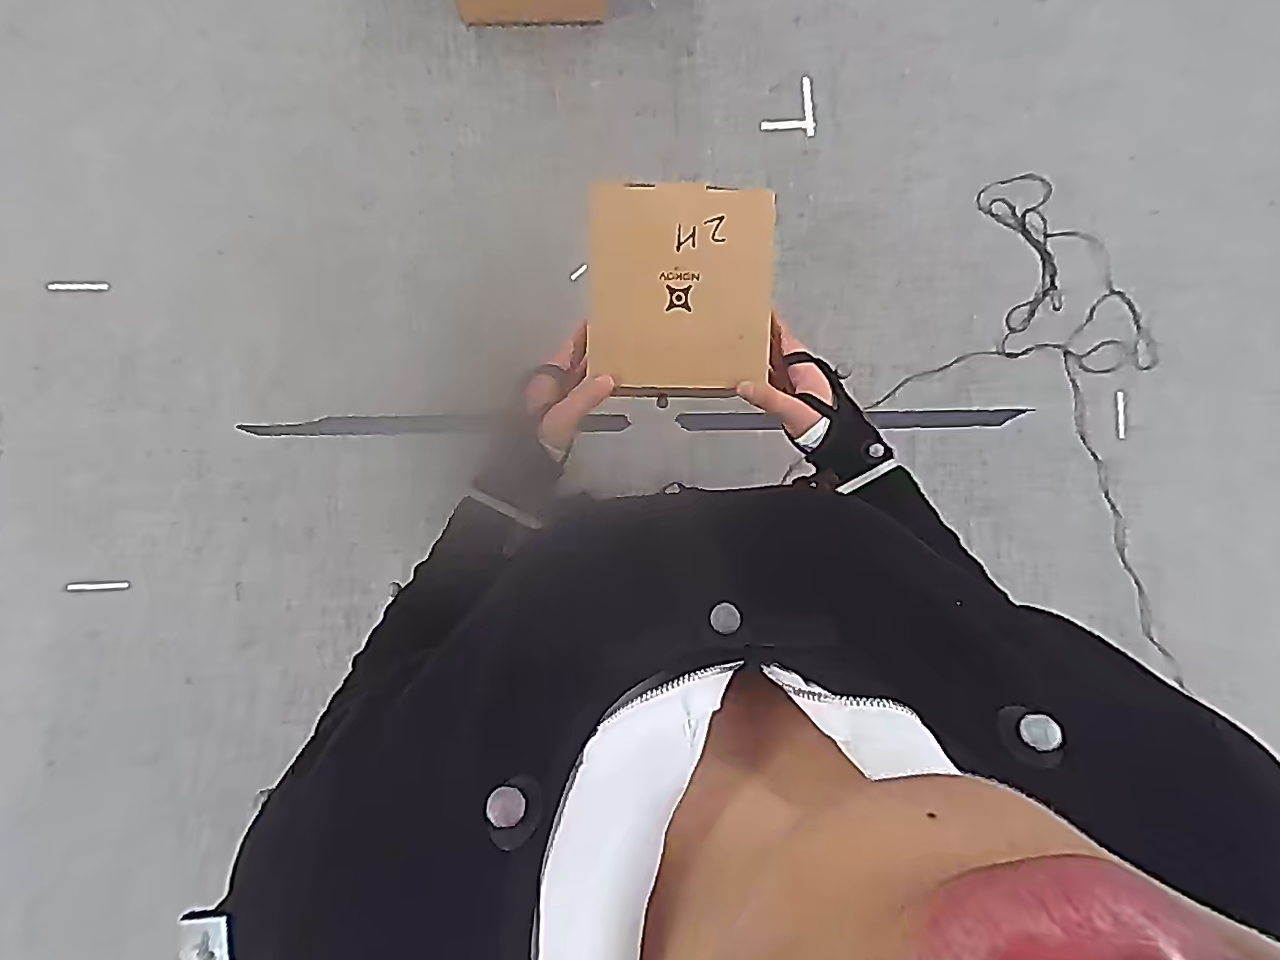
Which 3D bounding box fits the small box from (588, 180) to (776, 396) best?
[{"bbox_3d":[0.033,-0.181,0.564,0.168,0.176,0.179,1,95,-5],"label":"small box"}]
